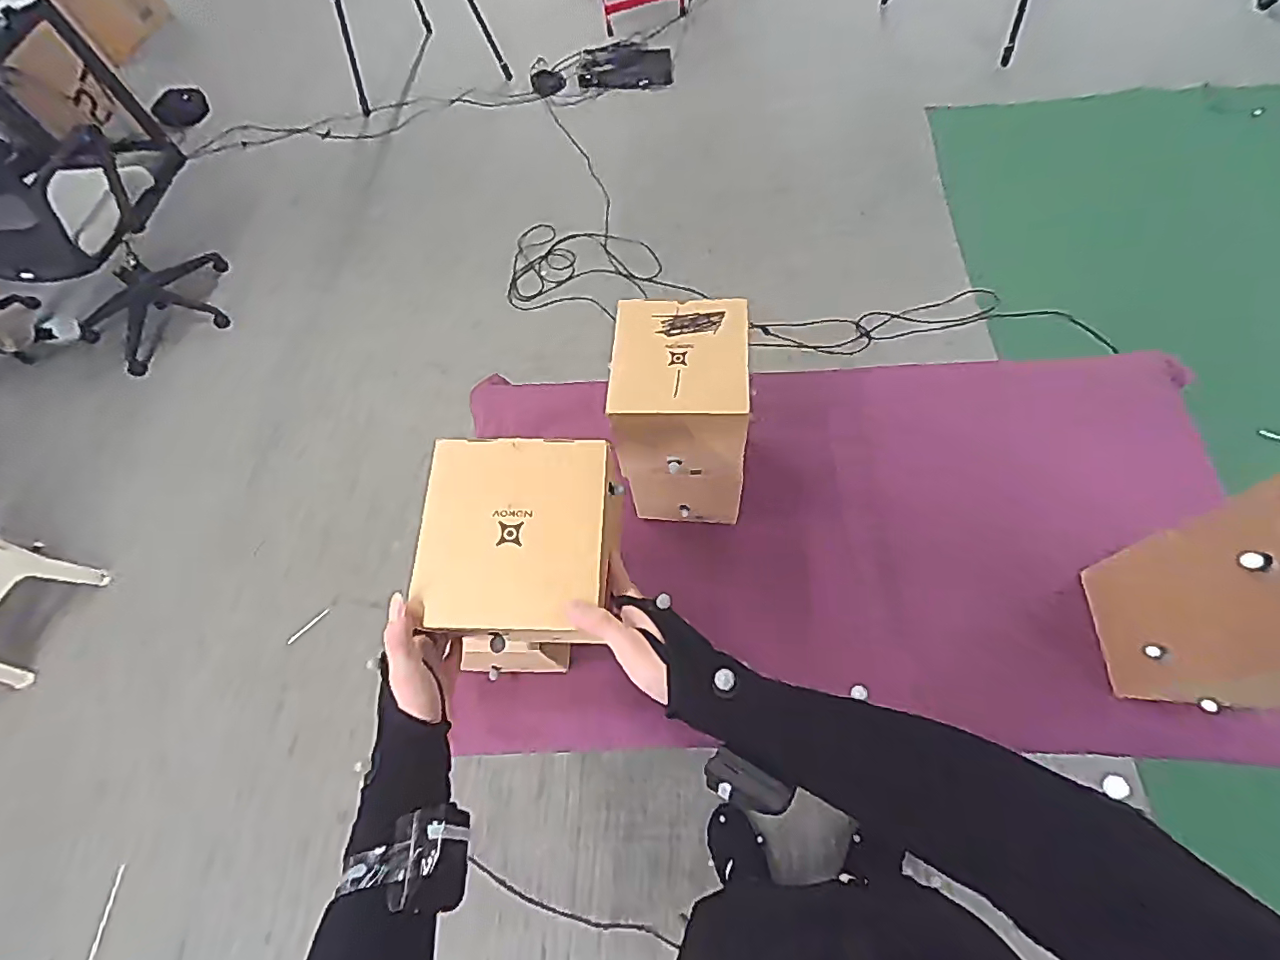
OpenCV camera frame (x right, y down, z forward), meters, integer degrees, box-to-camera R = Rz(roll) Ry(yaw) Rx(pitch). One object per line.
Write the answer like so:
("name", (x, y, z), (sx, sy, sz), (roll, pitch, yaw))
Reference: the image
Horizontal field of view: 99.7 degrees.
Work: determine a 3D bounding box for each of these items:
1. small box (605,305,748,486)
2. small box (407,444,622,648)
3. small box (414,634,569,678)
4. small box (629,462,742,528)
("small box", (0.054, -0.108, 0.720), (0.168, 0.176, 0.179), (1, 64, 7))
("small box", (-0.109, 0.076, 0.553), (0.168, 0.176, 0.179), (0, 69, 3))
("small box", (-0.195, 0.181, 0.785), (0.168, 0.176, 0.179), (-2, 62, 6))
("small box", (0.077, -0.039, 0.867), (0.168, 0.176, 0.179), (3, 64, 8))
